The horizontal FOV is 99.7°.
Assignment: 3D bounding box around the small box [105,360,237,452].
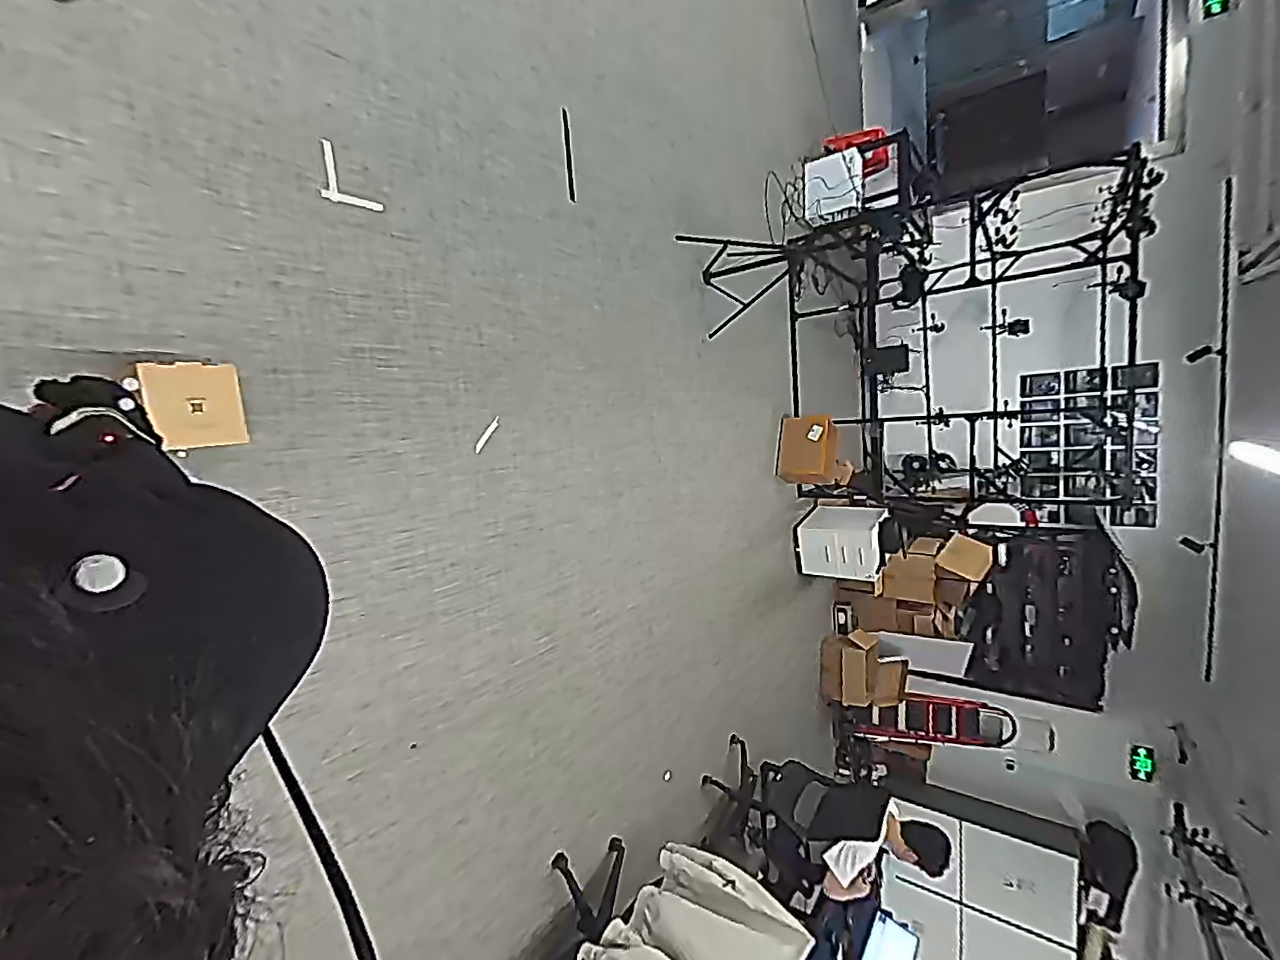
[{"bbox_3d":[-0.998,-0.155,1.151,0.168,0.176,0.179,-15,103,-52],"label":"small box"}]
